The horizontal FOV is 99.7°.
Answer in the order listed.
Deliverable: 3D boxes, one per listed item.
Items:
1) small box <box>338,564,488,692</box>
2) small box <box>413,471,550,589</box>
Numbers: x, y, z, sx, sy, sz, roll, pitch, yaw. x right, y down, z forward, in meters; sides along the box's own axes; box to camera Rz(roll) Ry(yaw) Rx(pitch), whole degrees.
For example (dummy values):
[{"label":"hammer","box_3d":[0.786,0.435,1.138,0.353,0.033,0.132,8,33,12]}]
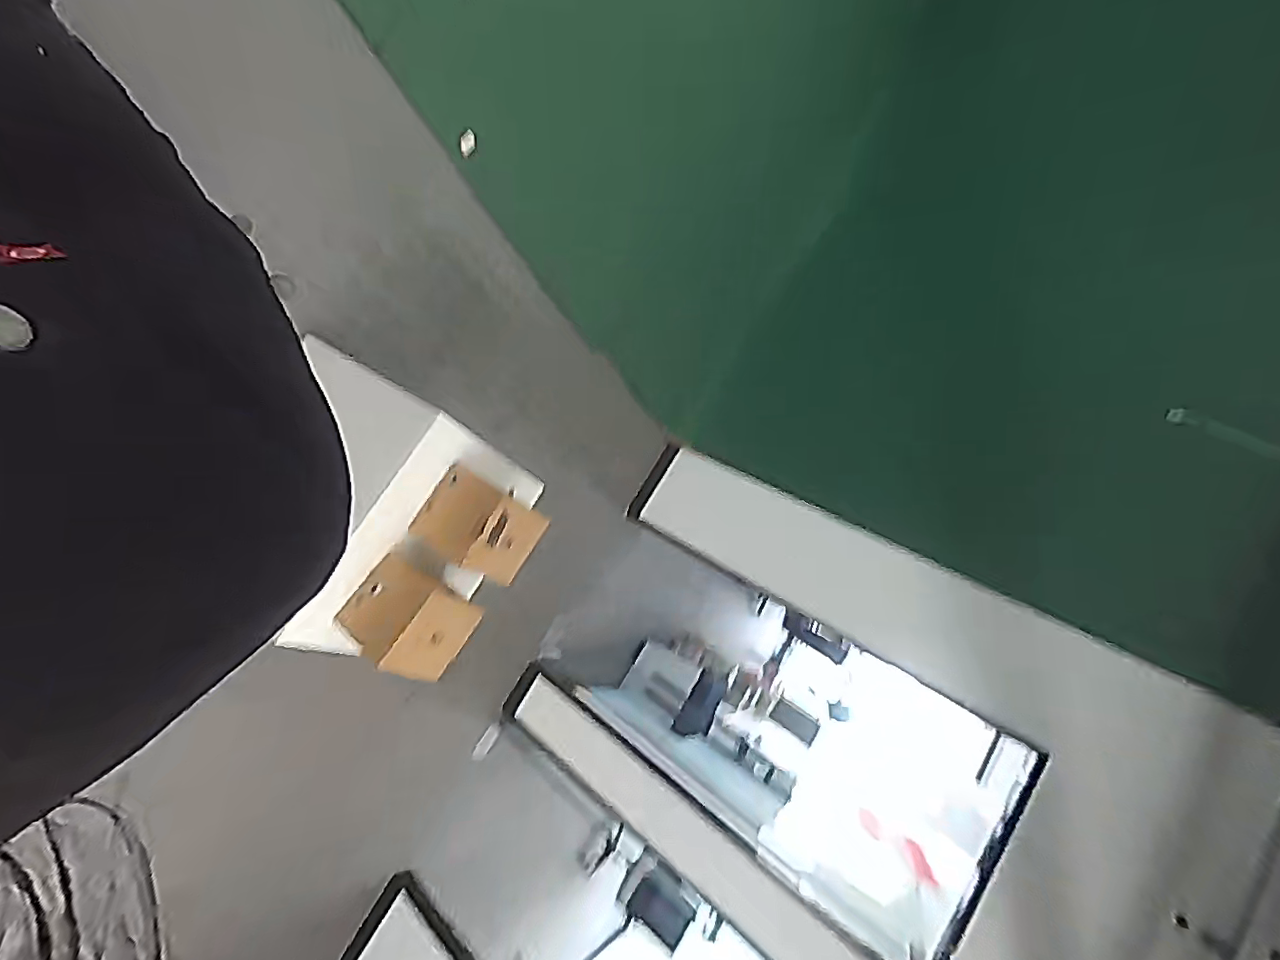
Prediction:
[{"label":"small box","box_3d":[-0.446,0.290,1.071,0.168,0.176,0.179,-56,148,-14]},{"label":"small box","box_3d":[-0.330,0.100,1.127,0.168,0.176,0.179,-58,151,-8]}]
